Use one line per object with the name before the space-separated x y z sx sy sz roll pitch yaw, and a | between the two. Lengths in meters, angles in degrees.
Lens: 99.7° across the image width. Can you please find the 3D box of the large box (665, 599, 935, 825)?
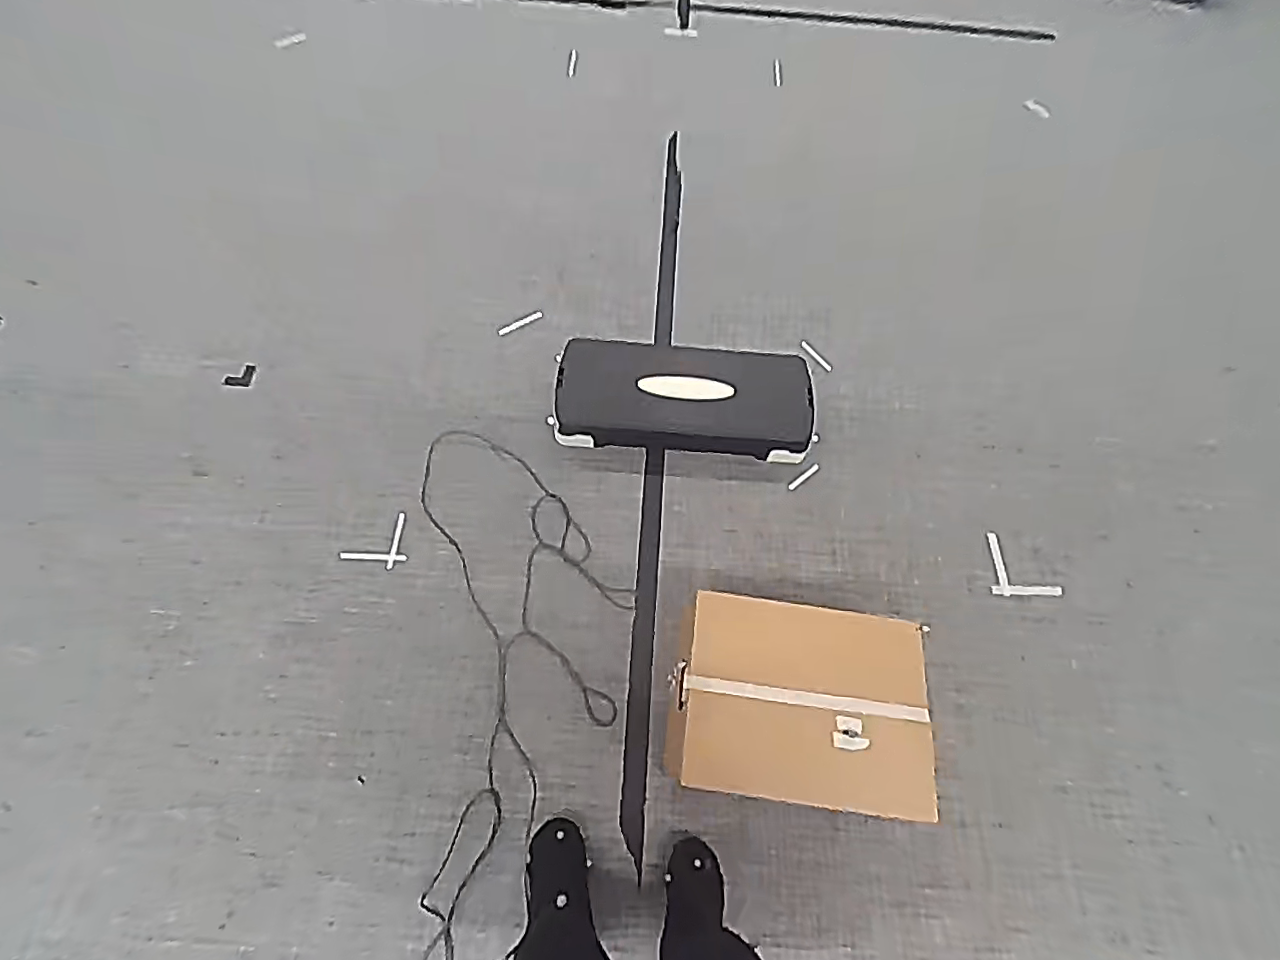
large box | 0.269 0.437 1.033 0.408 0.320 0.320 8 65 0
